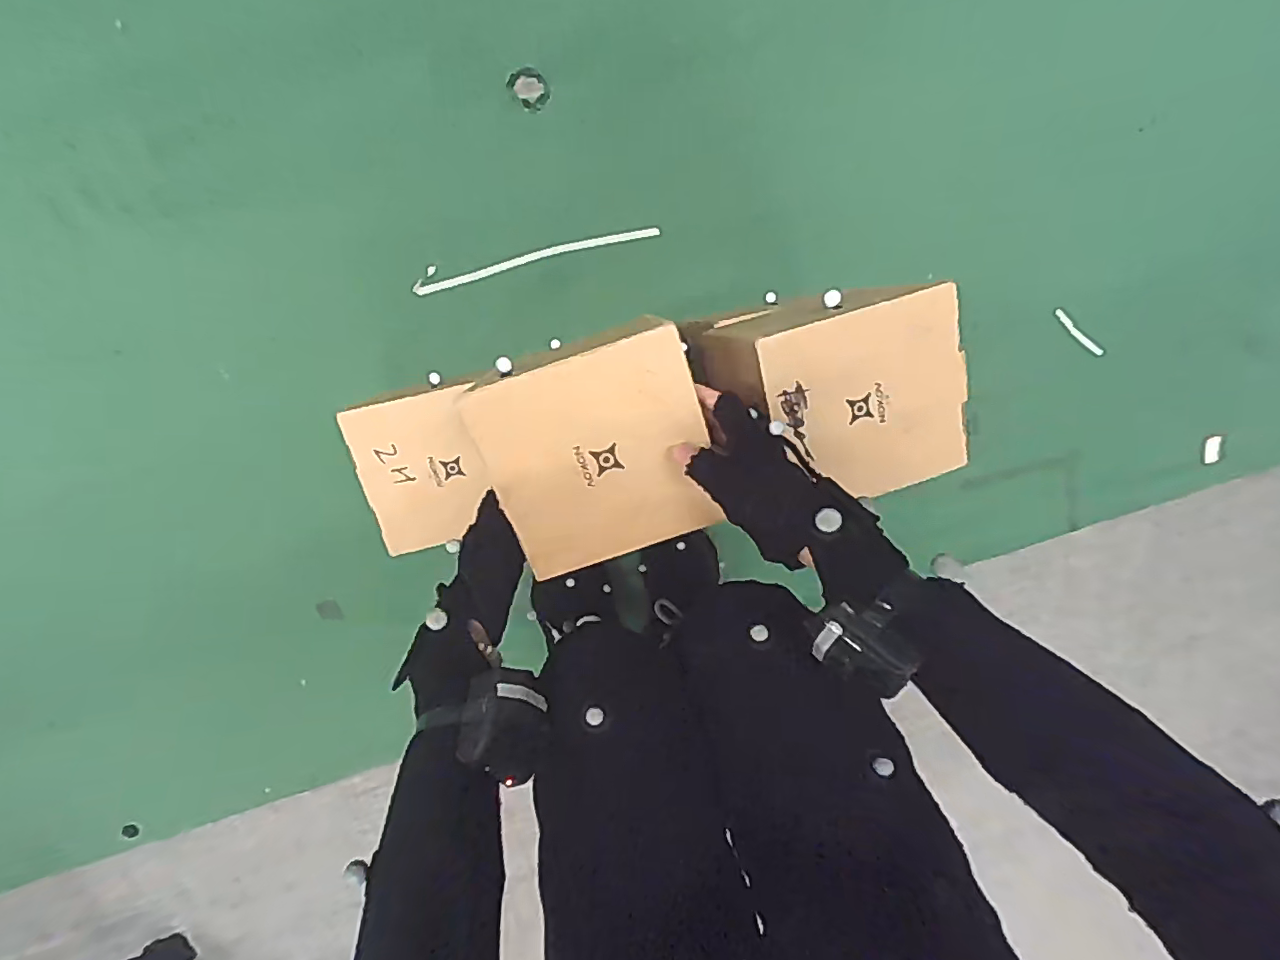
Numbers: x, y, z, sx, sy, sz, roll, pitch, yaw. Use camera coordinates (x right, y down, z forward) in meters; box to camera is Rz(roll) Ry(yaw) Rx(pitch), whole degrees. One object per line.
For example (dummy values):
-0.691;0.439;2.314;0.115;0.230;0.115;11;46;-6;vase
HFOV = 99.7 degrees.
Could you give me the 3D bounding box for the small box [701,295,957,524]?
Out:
0.178;-0.081;0.540;0.179;0.176;0.168;-16;108;-4;small box
